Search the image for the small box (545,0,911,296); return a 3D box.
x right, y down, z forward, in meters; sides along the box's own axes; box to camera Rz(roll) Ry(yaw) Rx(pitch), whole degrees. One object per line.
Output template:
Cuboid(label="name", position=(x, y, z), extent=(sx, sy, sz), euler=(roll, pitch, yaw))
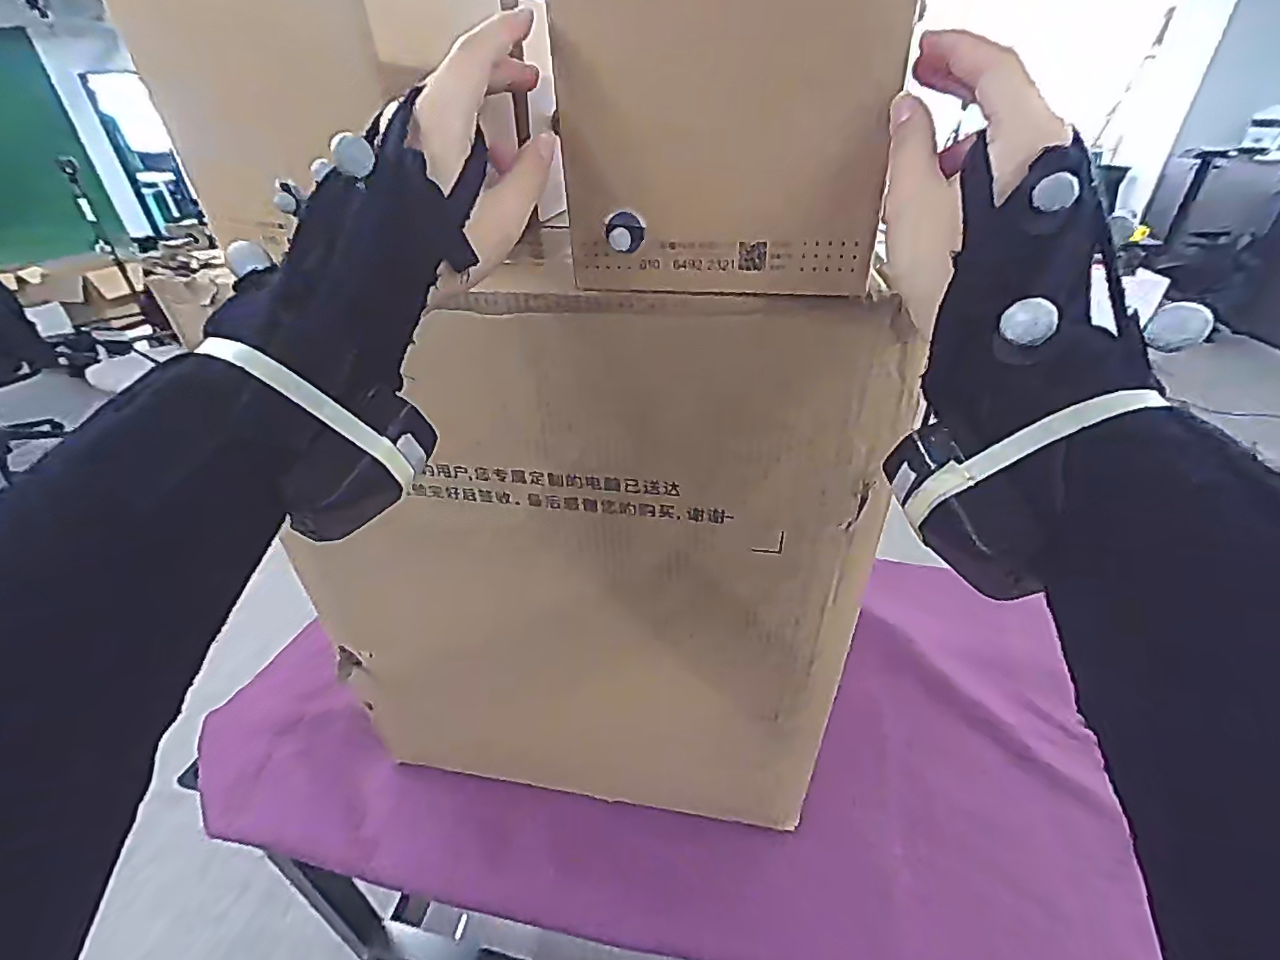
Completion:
Cuboid(label="small box", position=(0.058, -0.217, 0.329), extent=(0.168, 0.176, 0.179), euler=(6, 34, 13))
